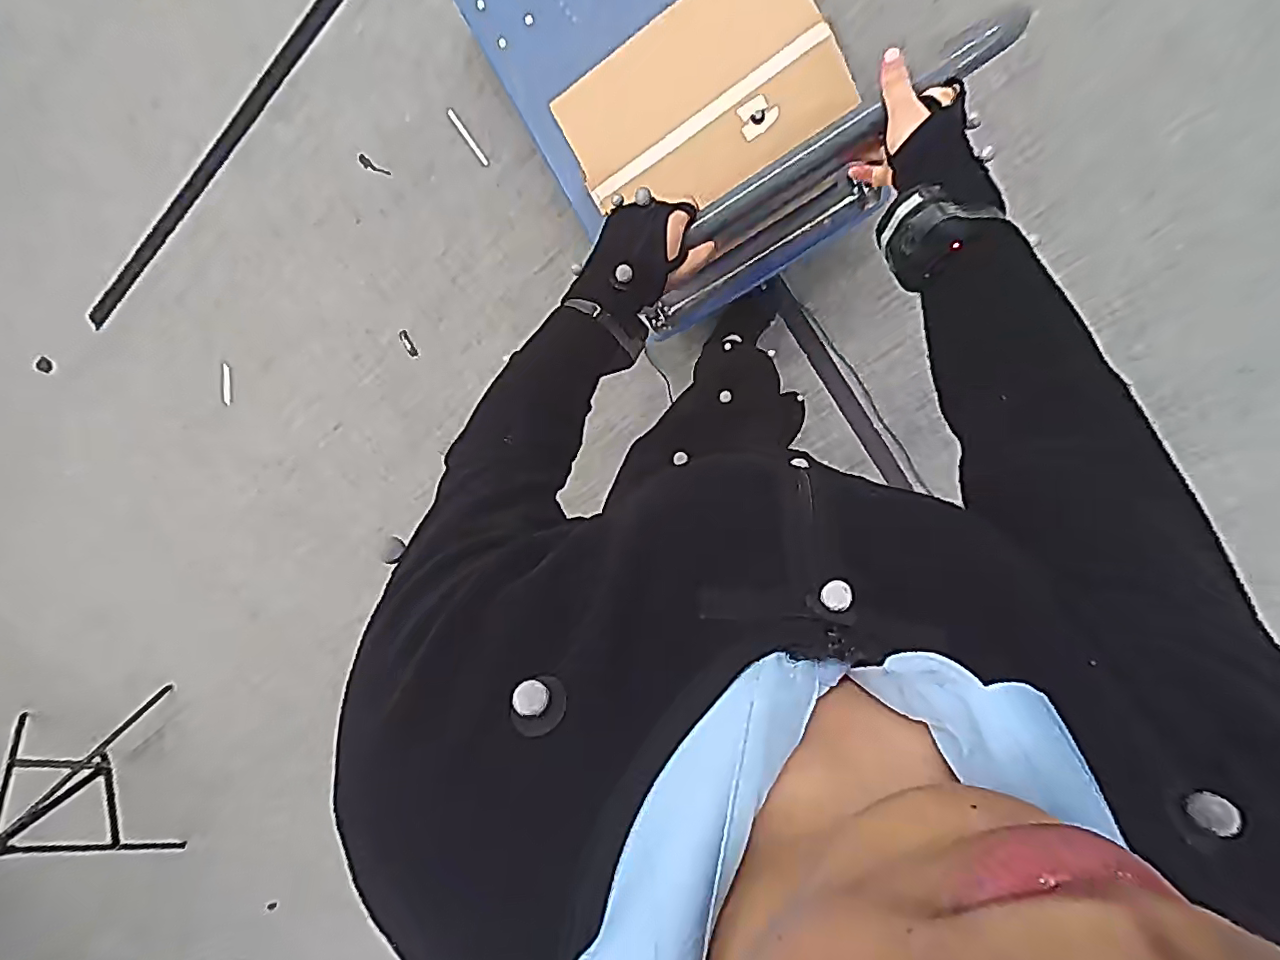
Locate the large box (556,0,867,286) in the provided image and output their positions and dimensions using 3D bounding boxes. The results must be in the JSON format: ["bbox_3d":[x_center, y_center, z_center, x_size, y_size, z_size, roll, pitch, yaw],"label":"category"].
[{"bbox_3d":[0.125,-0.607,0.986,0.408,0.320,0.320,-28,100,16],"label":"large box"}]
